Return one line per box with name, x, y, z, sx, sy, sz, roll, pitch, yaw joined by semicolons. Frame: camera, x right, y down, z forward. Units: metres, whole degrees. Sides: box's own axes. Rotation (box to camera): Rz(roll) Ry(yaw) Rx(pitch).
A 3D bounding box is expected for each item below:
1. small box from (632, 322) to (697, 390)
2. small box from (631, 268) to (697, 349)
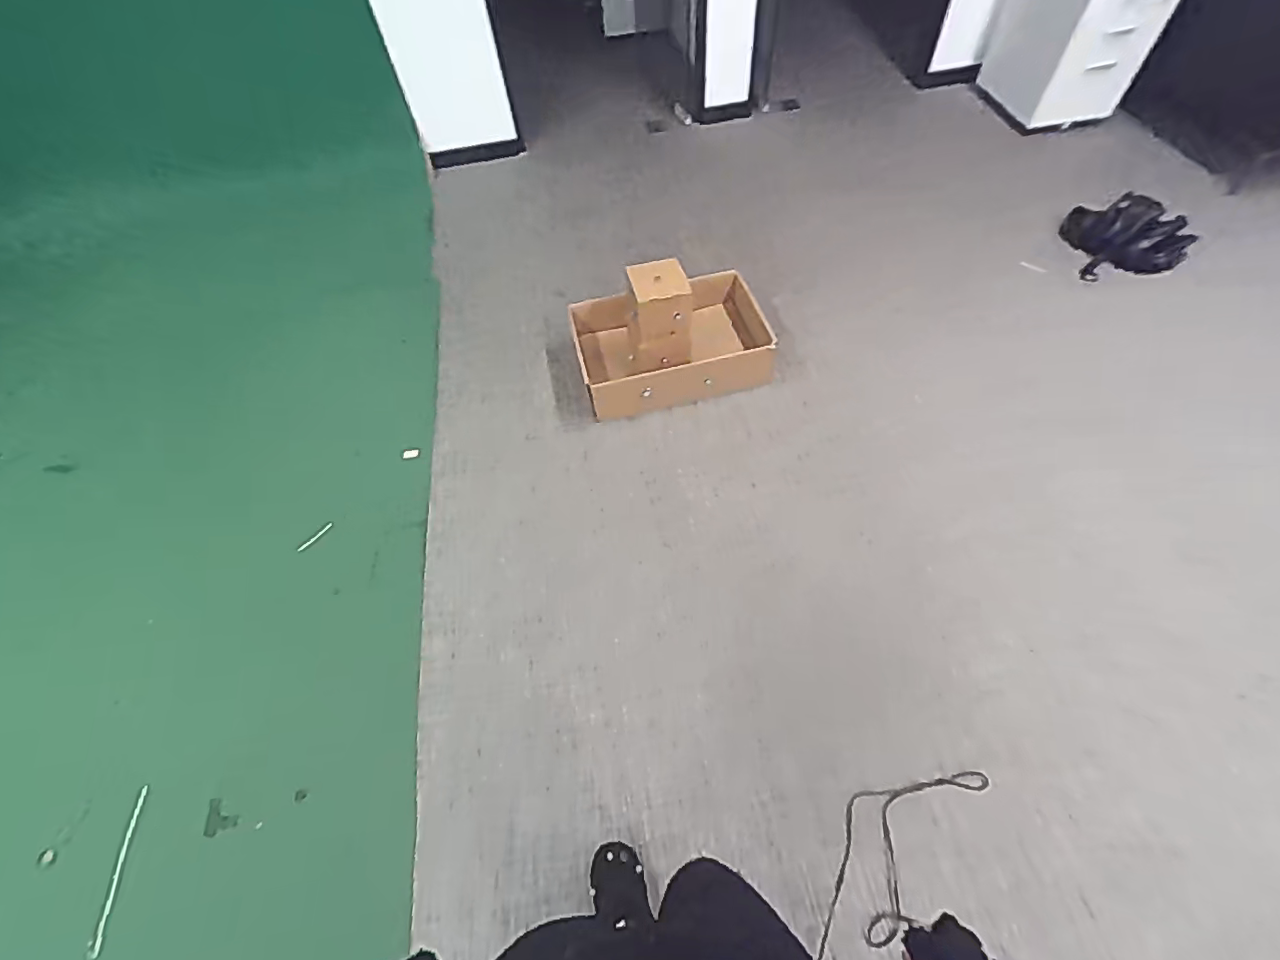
small box;0.081;-0.428;1.807;0.179;0.176;0.168;-15;55;-4
small box;0.074;-0.526;1.680;0.168;0.176;0.179;-12;54;-6
